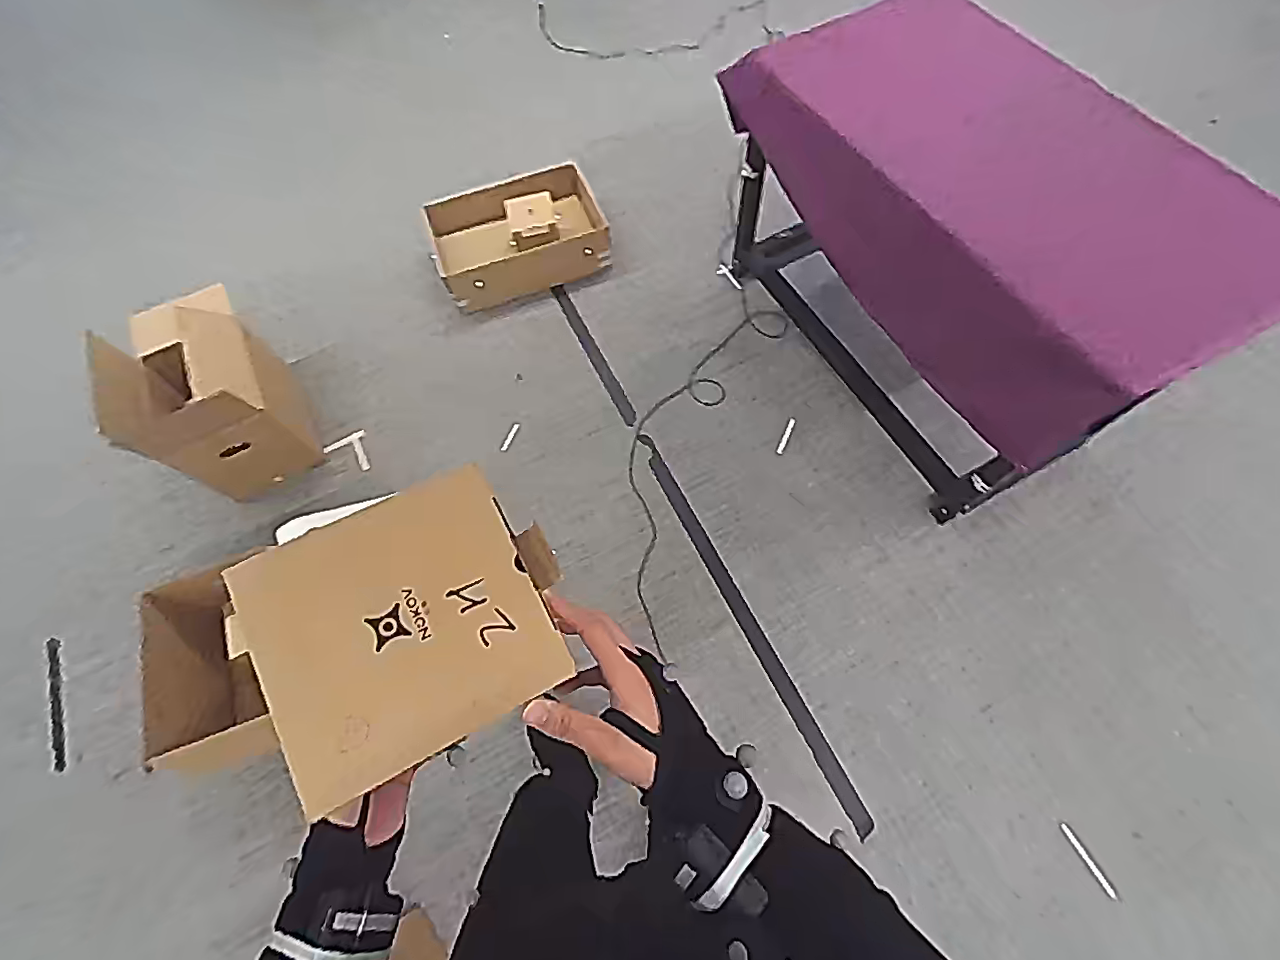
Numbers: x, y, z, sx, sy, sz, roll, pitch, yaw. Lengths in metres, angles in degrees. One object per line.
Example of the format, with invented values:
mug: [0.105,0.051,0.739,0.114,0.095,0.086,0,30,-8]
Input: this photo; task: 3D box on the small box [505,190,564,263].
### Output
small box: [-0.385,-0.926,1.997,0.168,0.176,0.179,-13,66,-2]

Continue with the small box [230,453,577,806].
small box: [-0.157,0.108,0.418,0.179,0.176,0.168,-24,77,-14]
